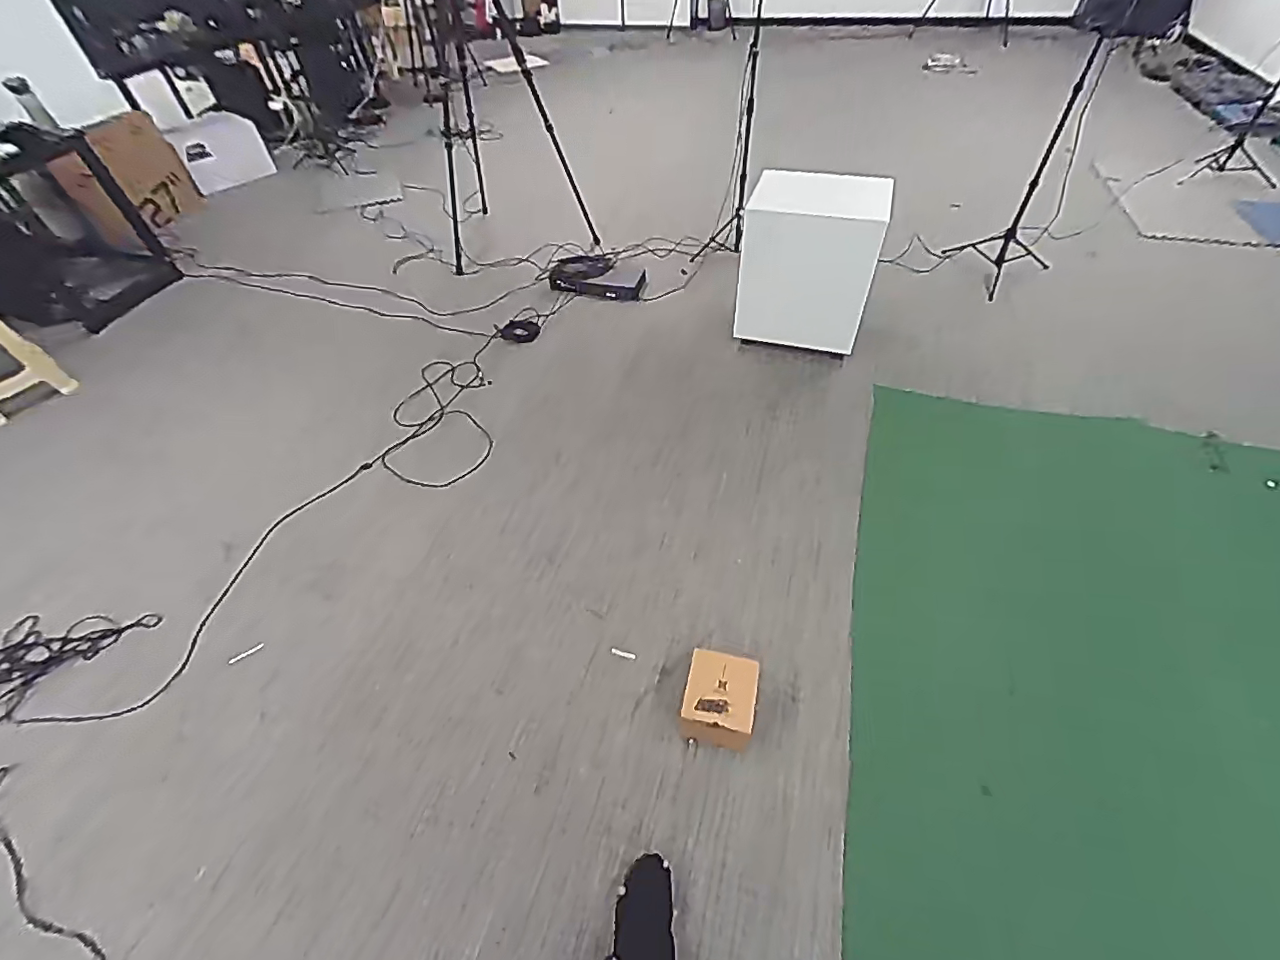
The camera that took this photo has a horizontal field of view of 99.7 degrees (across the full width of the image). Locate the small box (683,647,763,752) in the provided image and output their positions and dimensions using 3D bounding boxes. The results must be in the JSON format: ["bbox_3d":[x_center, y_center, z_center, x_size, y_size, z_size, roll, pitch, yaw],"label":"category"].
[{"bbox_3d":[0.203,0.546,1.337,0.168,0.176,0.179,10,50,12],"label":"small box"}]
